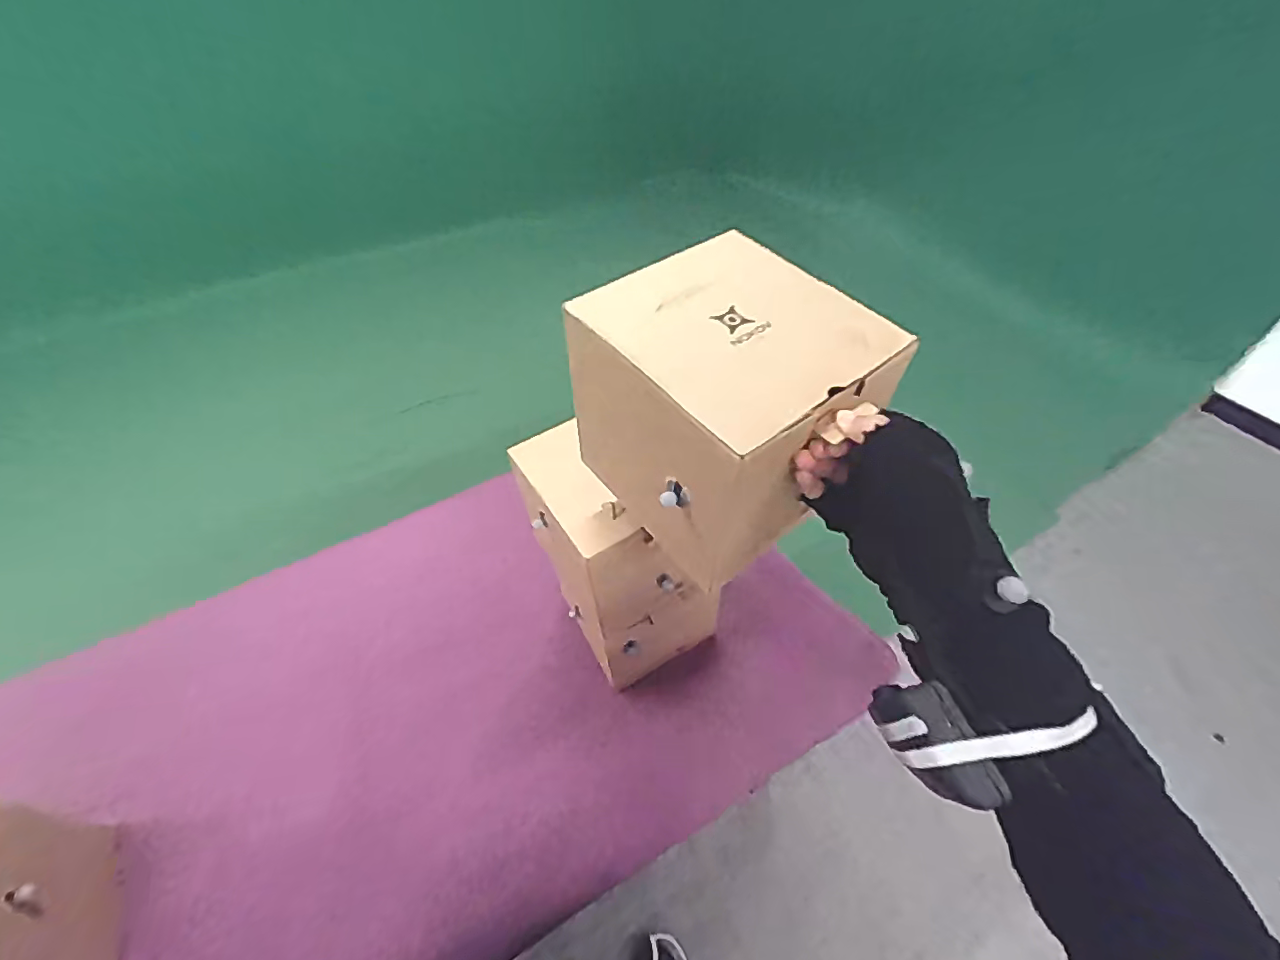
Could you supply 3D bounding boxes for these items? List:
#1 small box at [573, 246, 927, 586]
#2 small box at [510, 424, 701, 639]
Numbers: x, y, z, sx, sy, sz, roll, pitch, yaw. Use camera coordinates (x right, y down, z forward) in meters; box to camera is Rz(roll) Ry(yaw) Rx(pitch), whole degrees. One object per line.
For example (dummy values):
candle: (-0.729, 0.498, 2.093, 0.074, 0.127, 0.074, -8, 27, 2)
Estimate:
small box: (0.067, -0.041, 0.418, 0.168, 0.176, 0.179, -30, 60, -22)
small box: (-0.027, 0.047, 0.622, 0.168, 0.176, 0.179, -28, 54, -19)
